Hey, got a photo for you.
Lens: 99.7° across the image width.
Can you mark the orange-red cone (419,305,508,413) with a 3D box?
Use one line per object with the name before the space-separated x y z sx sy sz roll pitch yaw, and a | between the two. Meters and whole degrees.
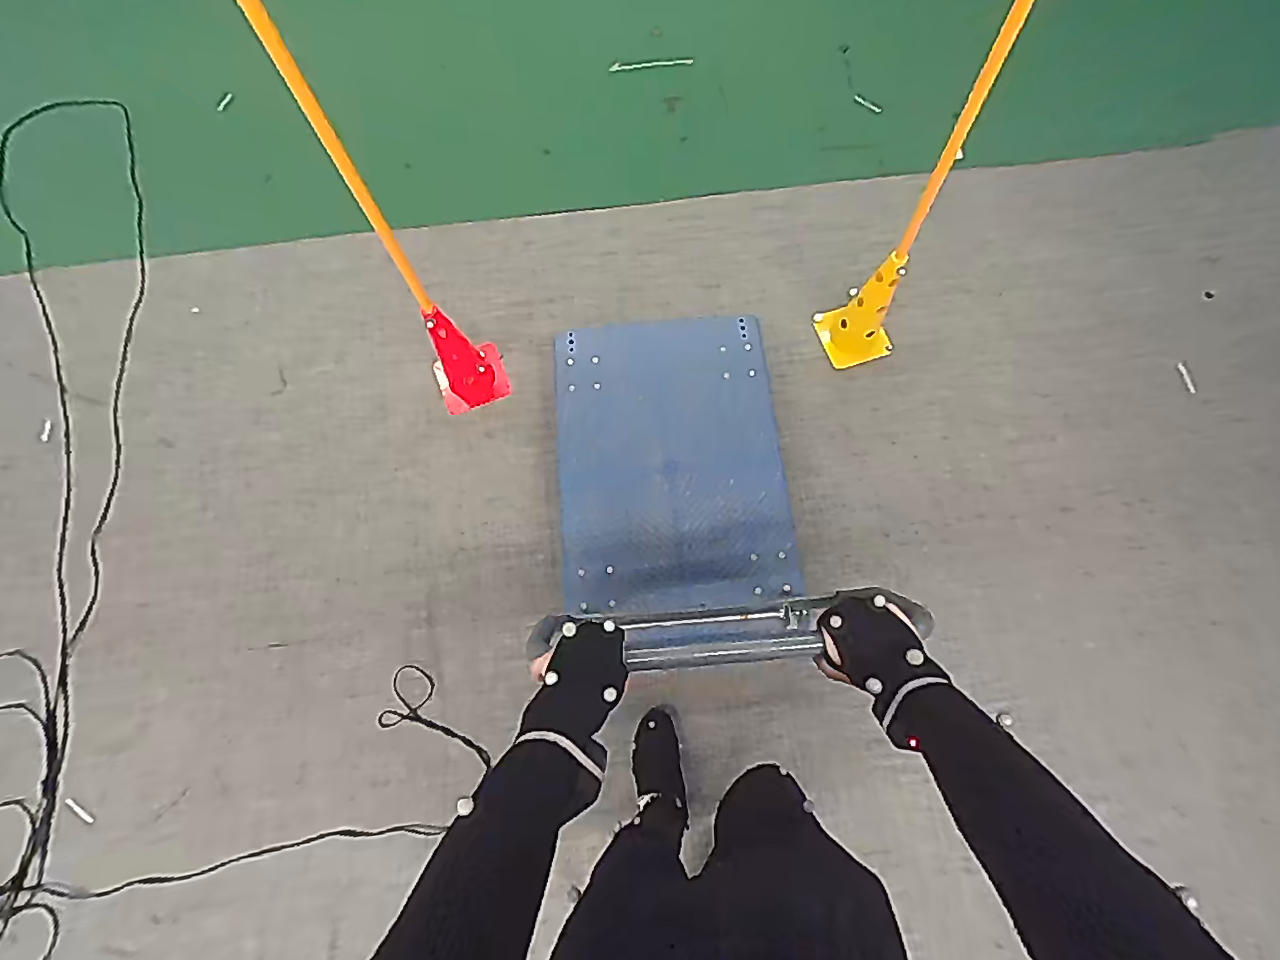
orange-red cone | -0.522 -0.362 1.495 0.199 0.360 0.198 -21 73 -4
